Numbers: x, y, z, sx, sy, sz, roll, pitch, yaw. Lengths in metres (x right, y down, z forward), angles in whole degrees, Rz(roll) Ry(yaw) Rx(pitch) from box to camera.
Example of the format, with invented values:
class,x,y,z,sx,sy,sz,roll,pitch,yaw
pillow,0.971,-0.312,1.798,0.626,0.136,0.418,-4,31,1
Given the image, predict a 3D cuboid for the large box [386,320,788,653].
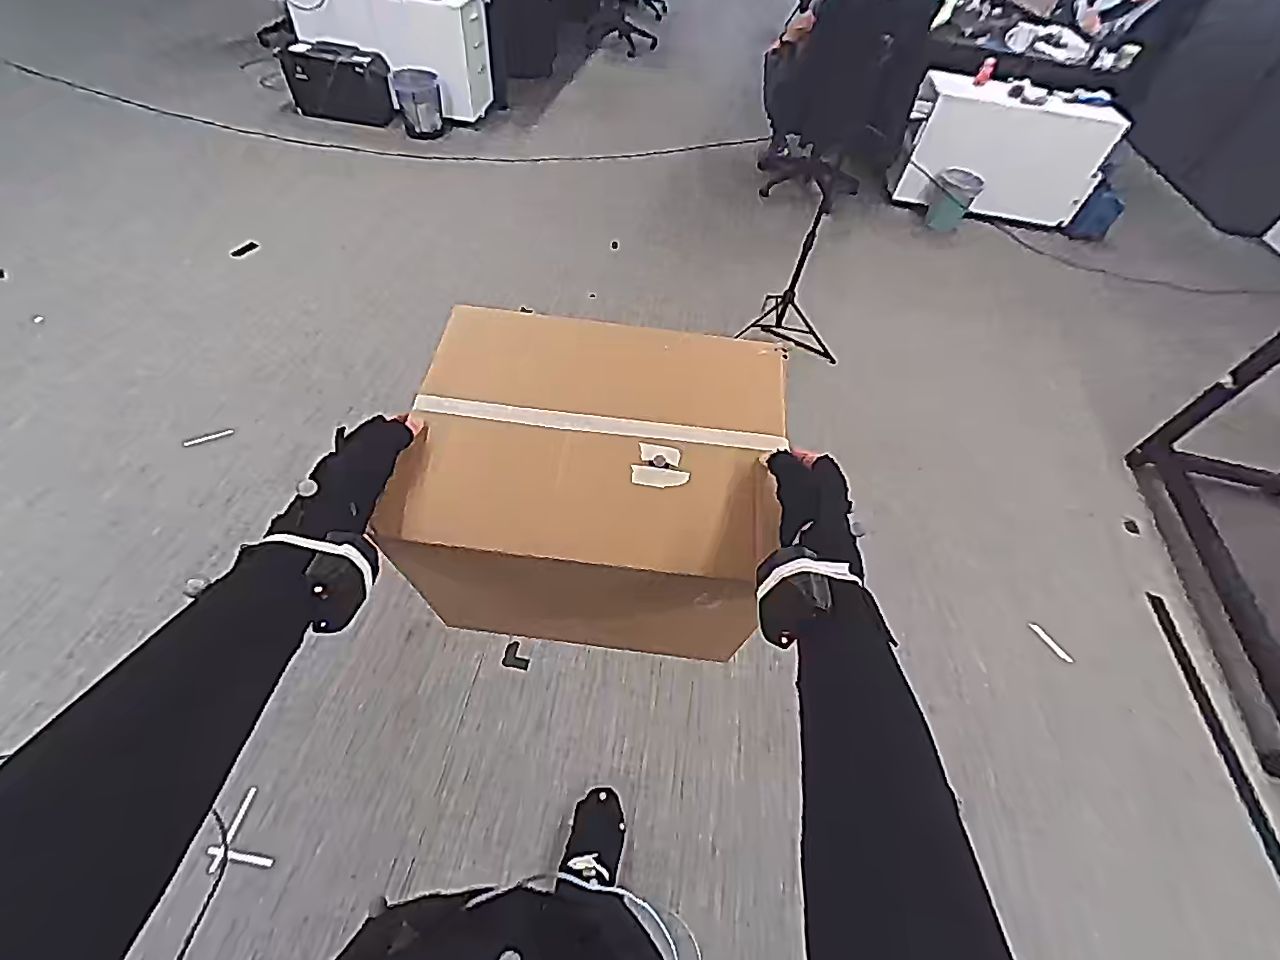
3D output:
class,x,y,z,sx,sy,sz,roll,pitch,yaw
large box,-0.050,0.025,0.728,0.408,0.320,0.320,7,59,-1
